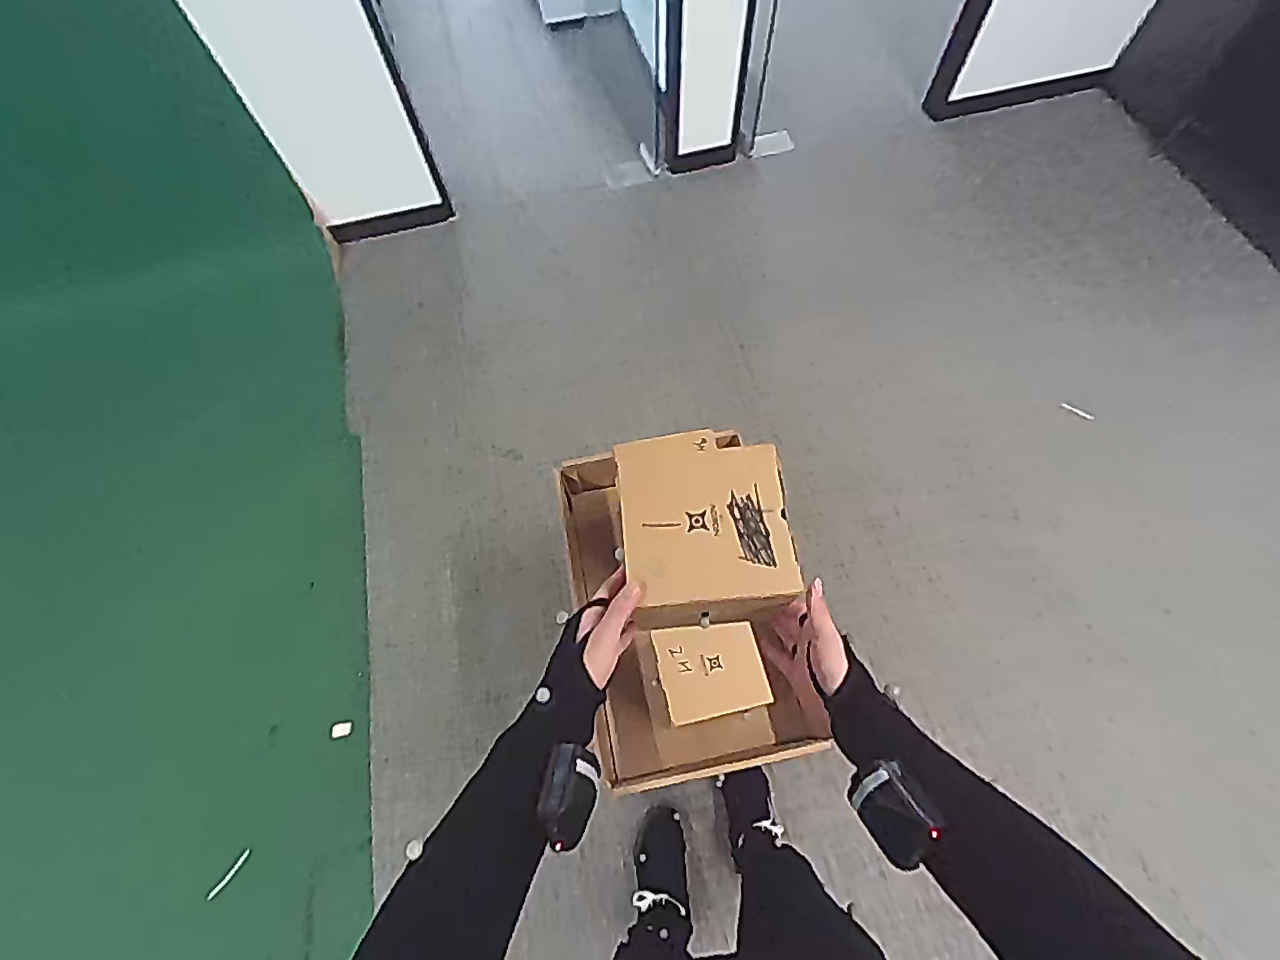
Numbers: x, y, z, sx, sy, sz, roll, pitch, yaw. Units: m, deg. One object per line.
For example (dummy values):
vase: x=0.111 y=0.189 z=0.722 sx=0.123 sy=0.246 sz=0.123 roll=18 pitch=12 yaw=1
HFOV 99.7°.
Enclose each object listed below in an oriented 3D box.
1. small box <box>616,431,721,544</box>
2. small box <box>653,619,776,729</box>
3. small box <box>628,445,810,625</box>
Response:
small box: x=0.061 y=0.035 z=0.954 sx=0.179 sy=0.176 sz=0.168 roll=-9 pitch=67 yaw=-2
small box: x=0.124 y=0.347 z=0.983 sx=0.179 sy=0.176 sz=0.168 roll=-12 pitch=64 yaw=-4
small box: x=0.079 y=0.072 z=0.636 sx=0.179 sy=0.176 sz=0.168 roll=-5 pitch=66 yaw=0
